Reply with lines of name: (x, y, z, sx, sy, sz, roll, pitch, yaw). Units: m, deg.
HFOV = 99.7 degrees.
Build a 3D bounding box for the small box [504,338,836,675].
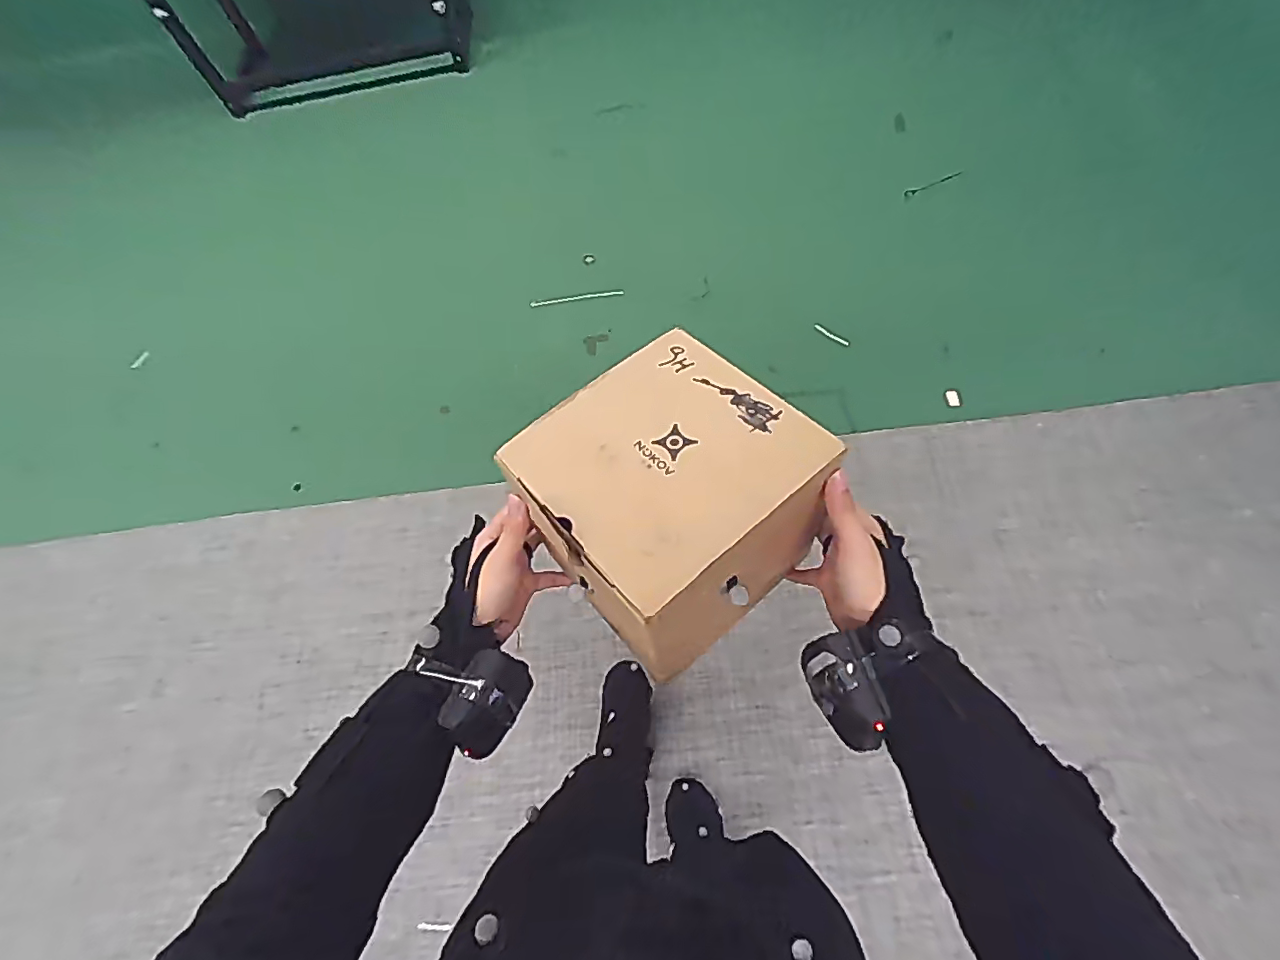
small box: (0.027, 0.028, 0.439, 0.179, 0.176, 0.168, -38, 60, -16)
